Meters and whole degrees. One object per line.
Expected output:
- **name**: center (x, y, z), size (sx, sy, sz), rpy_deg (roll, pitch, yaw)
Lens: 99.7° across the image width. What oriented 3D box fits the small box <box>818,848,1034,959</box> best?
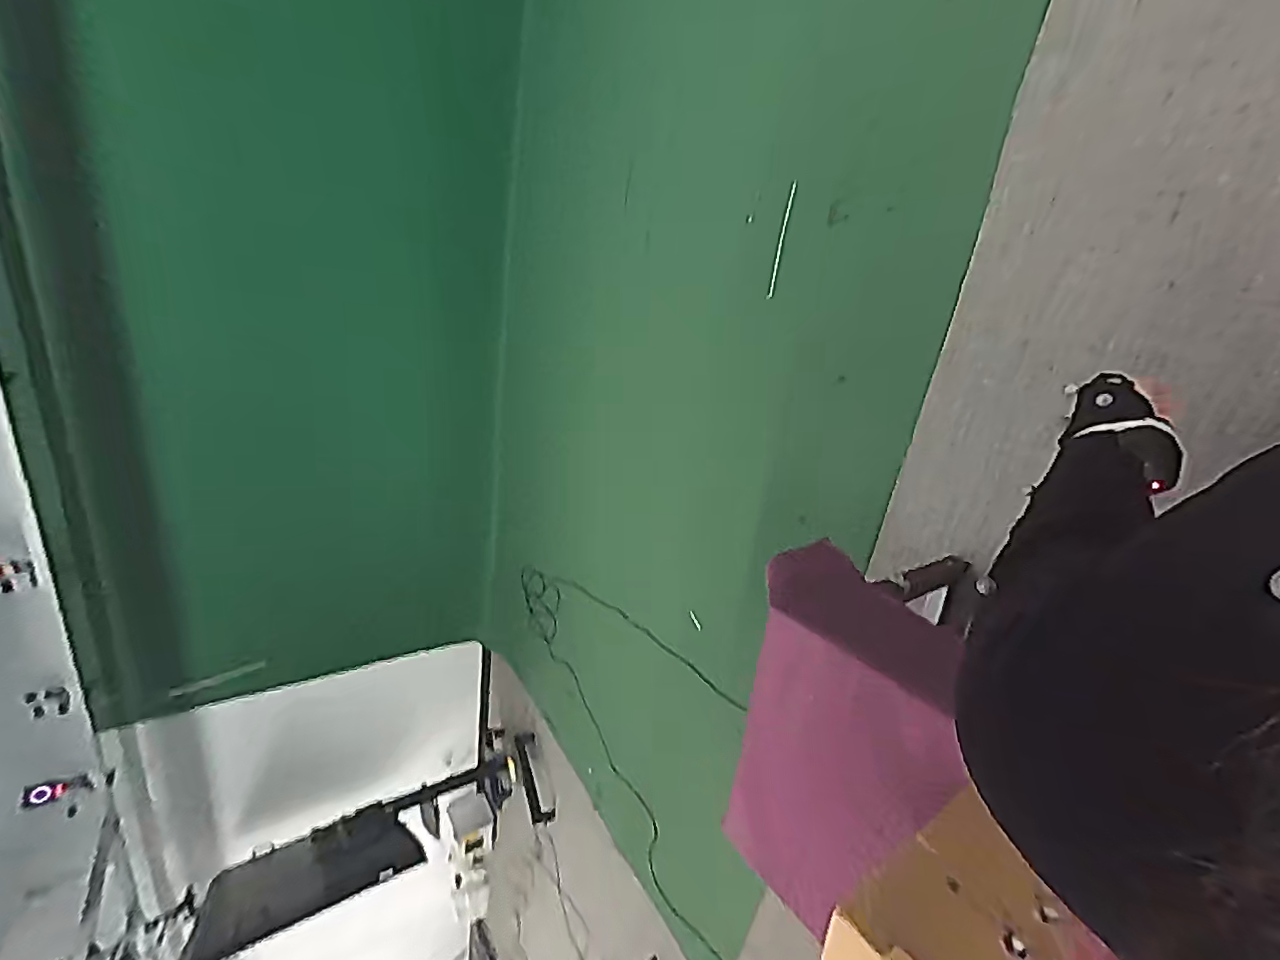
- **small box**: center (0.320, 0.573, 0.613), size (0.168, 0.176, 0.179), rpy_deg (27, 118, 51)
